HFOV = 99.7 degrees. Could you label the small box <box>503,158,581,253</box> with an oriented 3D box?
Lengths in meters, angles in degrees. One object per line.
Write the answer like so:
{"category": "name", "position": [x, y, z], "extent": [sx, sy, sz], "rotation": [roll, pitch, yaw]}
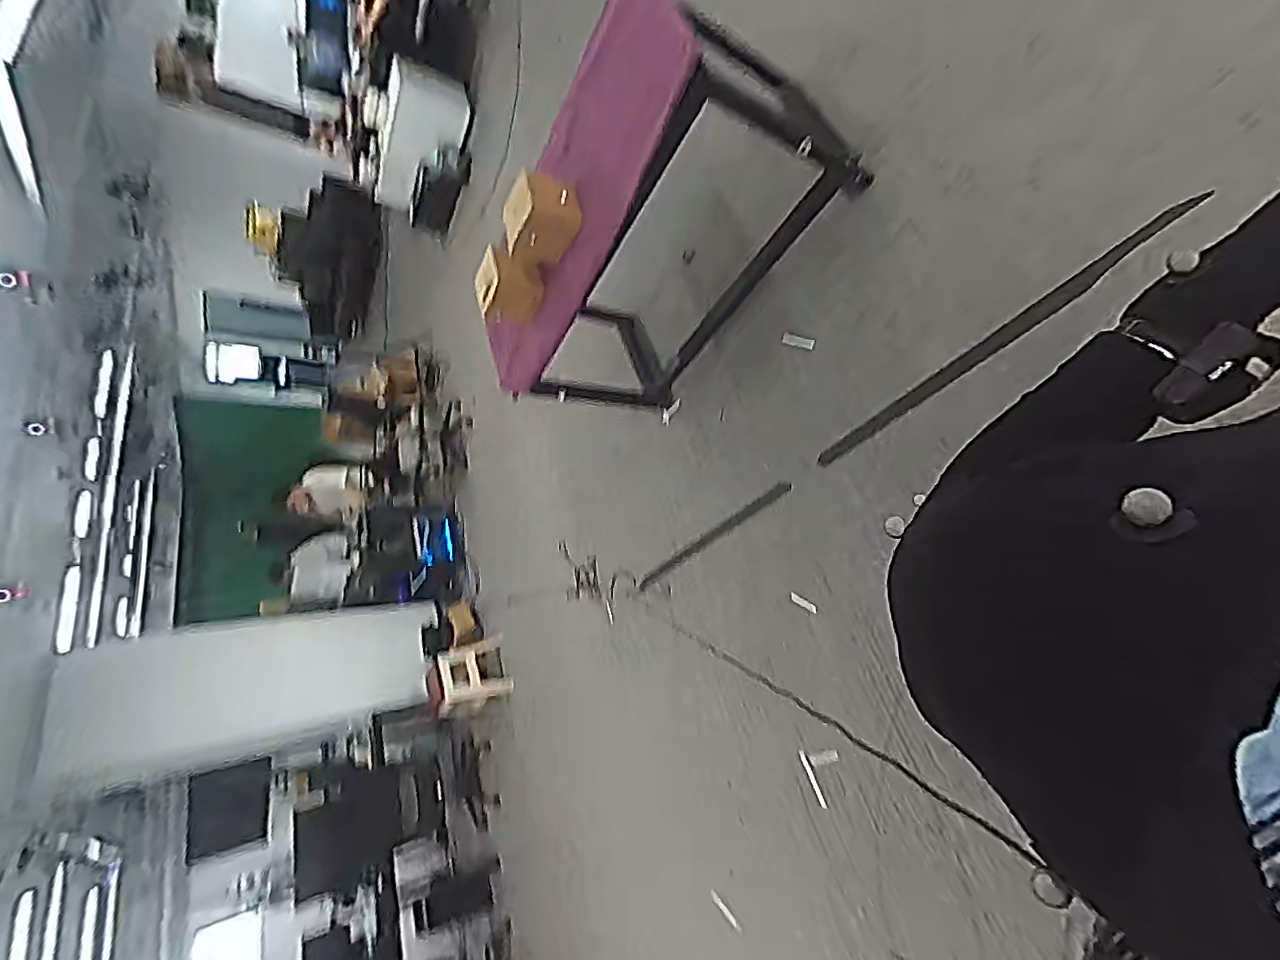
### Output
{"category": "small box", "position": [-0.302, -0.831, 1.657], "extent": [0.179, 0.176, 0.168], "rotation": [-35, 62, 47]}
